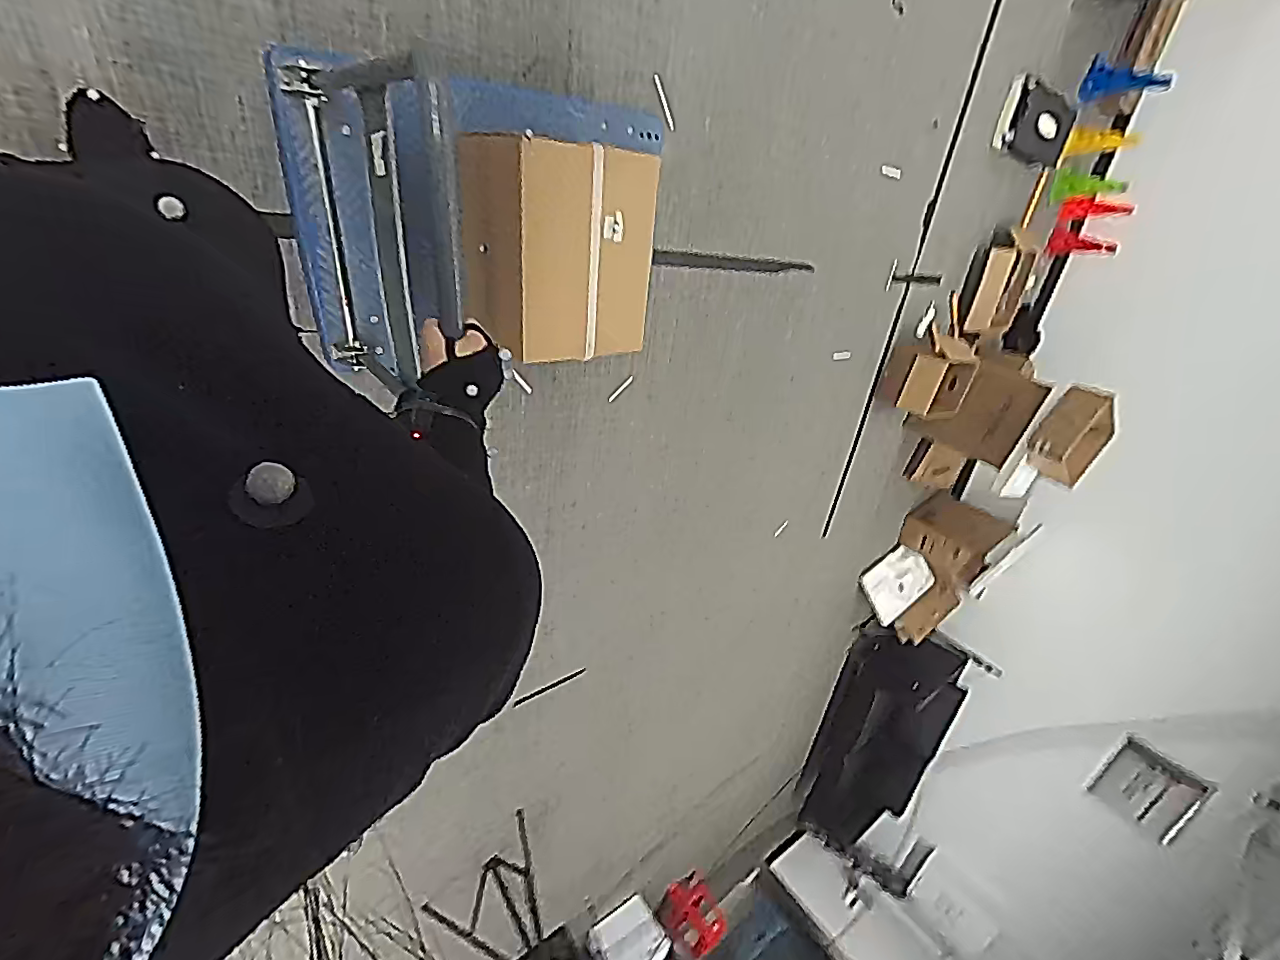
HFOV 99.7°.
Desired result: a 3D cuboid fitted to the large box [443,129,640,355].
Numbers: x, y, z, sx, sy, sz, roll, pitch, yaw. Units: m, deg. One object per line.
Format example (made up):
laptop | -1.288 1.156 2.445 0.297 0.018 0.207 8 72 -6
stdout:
large box | -0.224 -0.529 1.213 0.320 0.320 0.408 -17 125 -35
